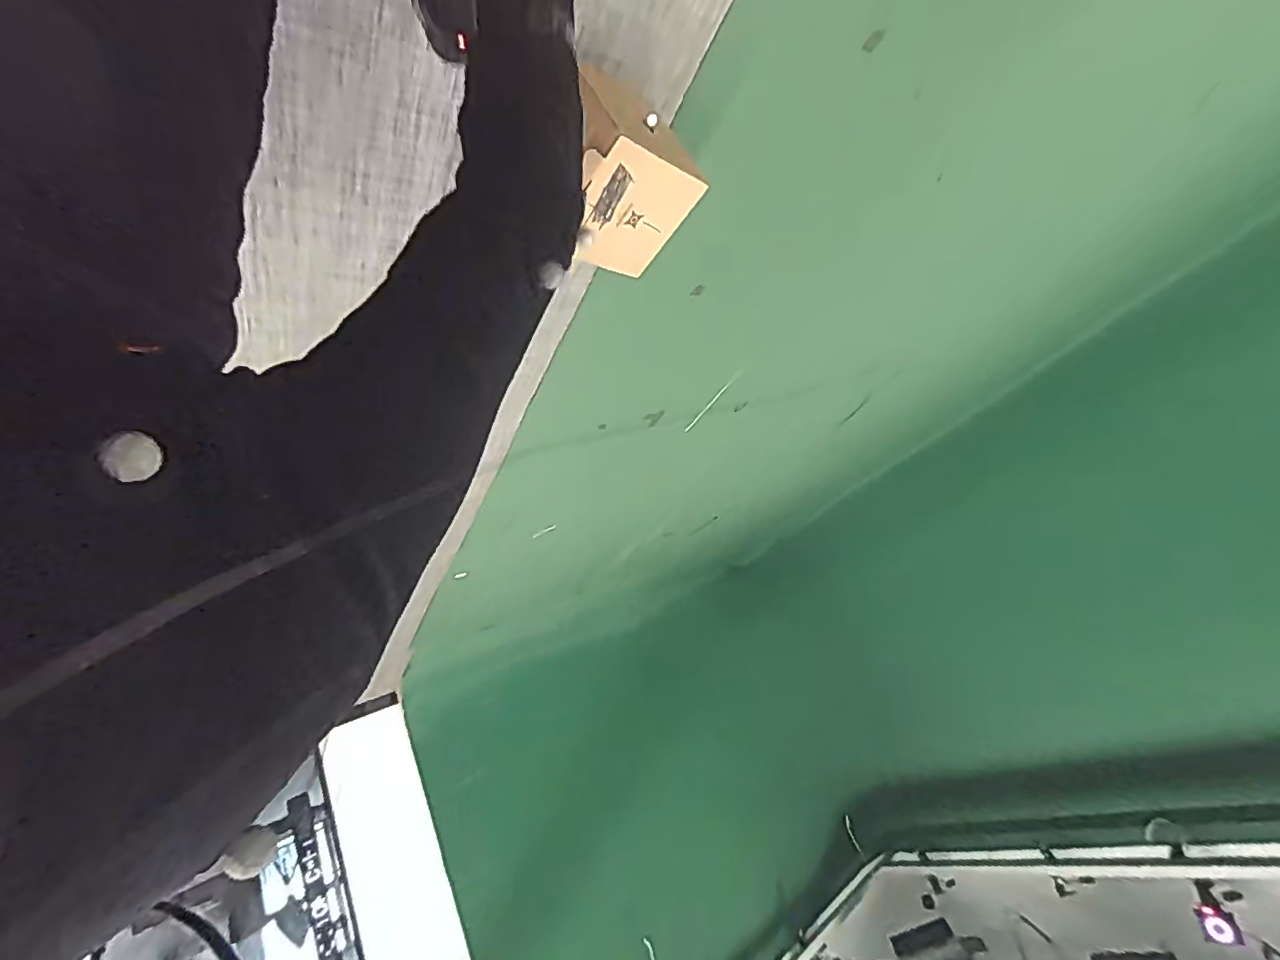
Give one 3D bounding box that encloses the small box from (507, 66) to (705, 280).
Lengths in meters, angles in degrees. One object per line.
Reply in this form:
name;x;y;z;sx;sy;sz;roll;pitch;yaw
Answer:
small box;-0.052;-0.408;0.732;0.179;0.176;0.168;-6;151;-47
